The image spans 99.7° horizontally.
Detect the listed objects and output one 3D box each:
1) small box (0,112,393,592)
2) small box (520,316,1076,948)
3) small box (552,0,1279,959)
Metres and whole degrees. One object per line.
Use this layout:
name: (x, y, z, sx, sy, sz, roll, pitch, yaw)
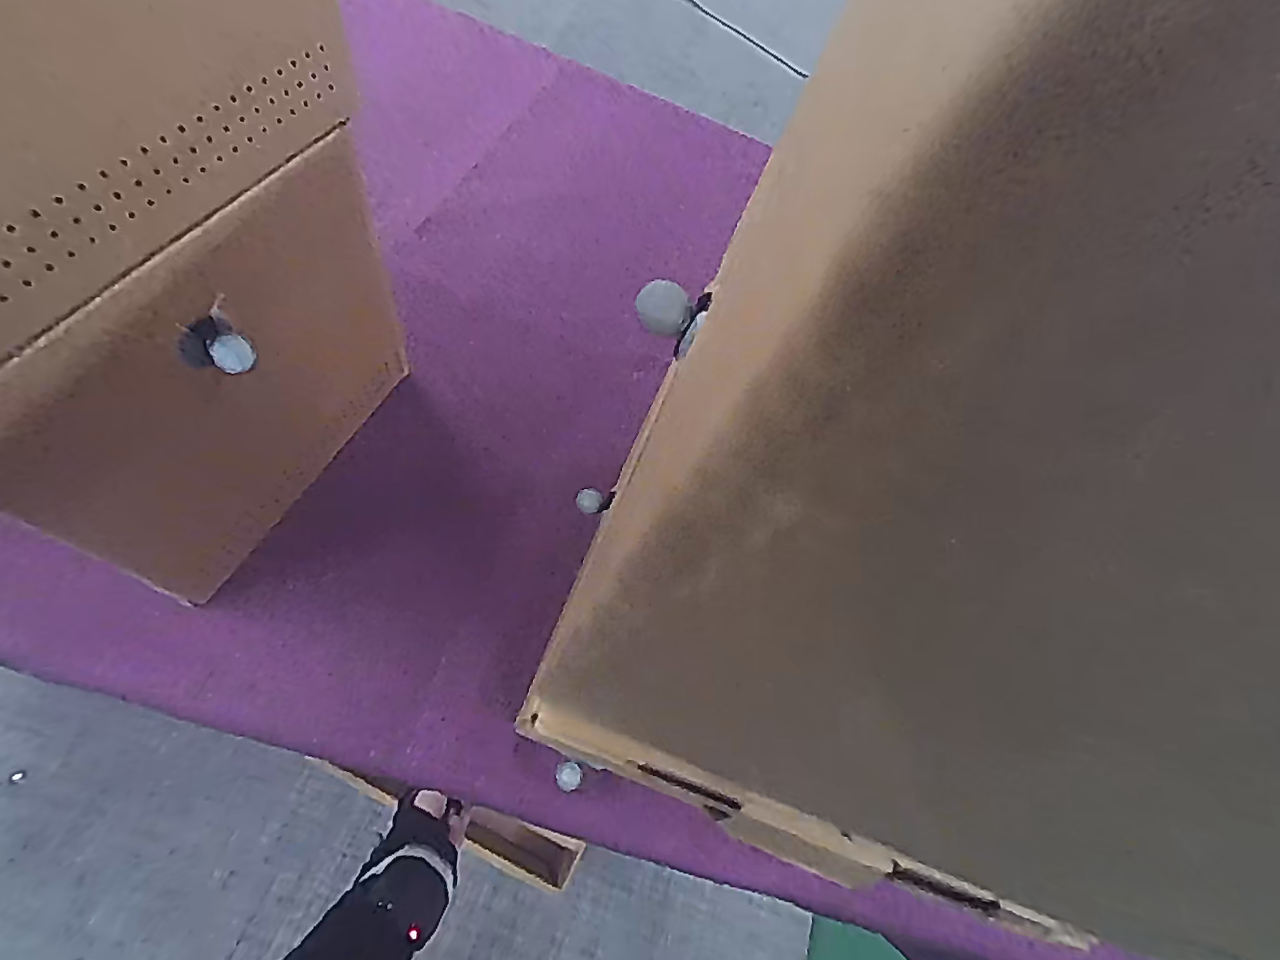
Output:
small box: (-0.237, -0.075, 0.242, 0.168, 0.176, 0.179, 28, 63, -1)
small box: (0.055, 0.059, 0.254, 0.168, 0.176, 0.179, 23, 61, -3)
small box: (0.097, -0.008, 0.111, 0.179, 0.176, 0.168, 24, 61, -2)
